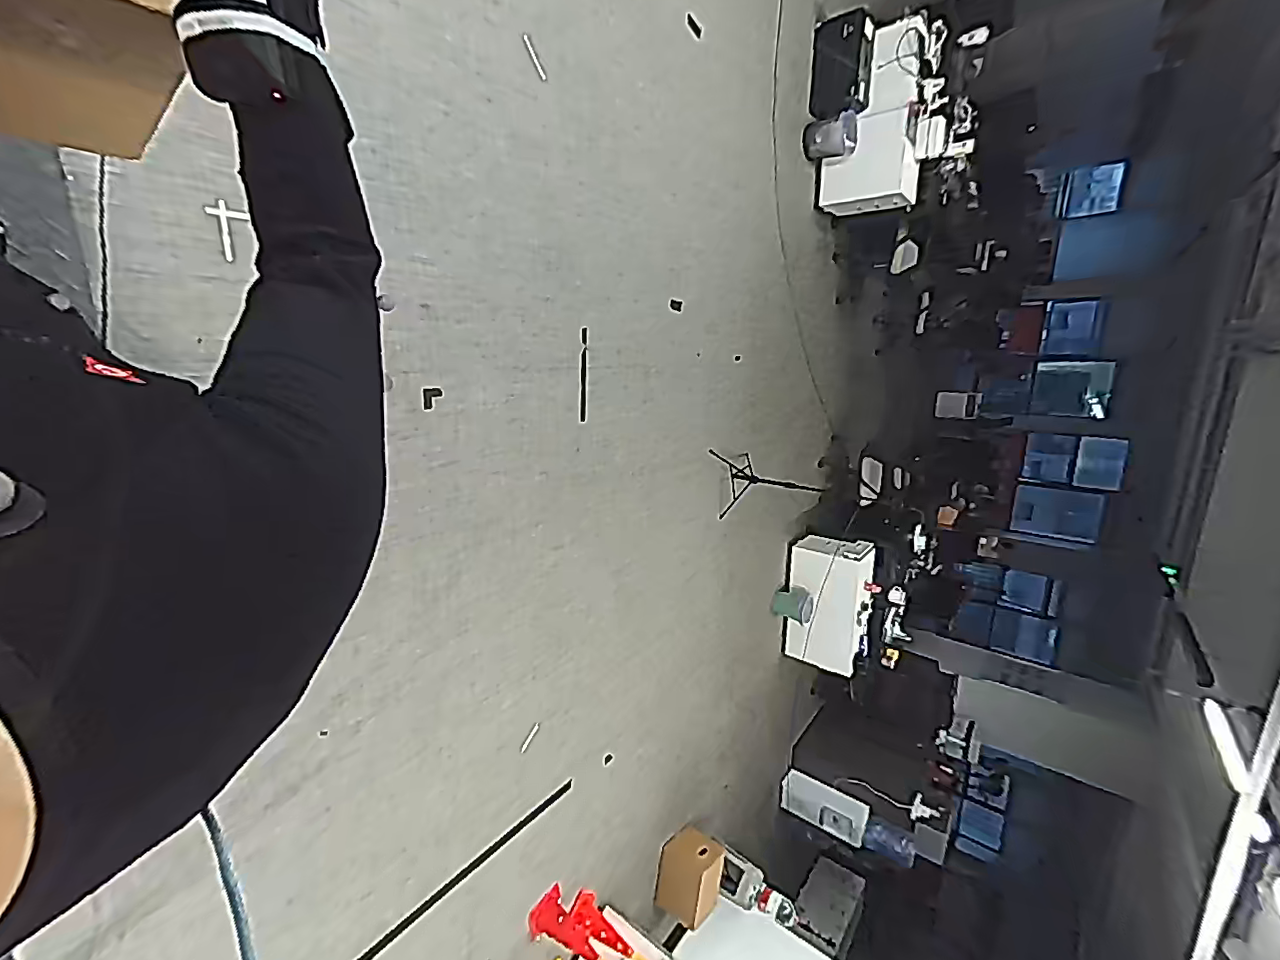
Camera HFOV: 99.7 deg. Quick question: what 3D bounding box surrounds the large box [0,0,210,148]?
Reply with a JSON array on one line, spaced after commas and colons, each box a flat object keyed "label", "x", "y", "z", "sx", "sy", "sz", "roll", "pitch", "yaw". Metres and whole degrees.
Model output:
[{"label": "large box", "x": -0.542, "y": -0.437, "z": 0.288, "sx": 0.408, "sy": 0.320, "sz": 0.320, "roll": -15, "pitch": 108, "yaw": -48}]
